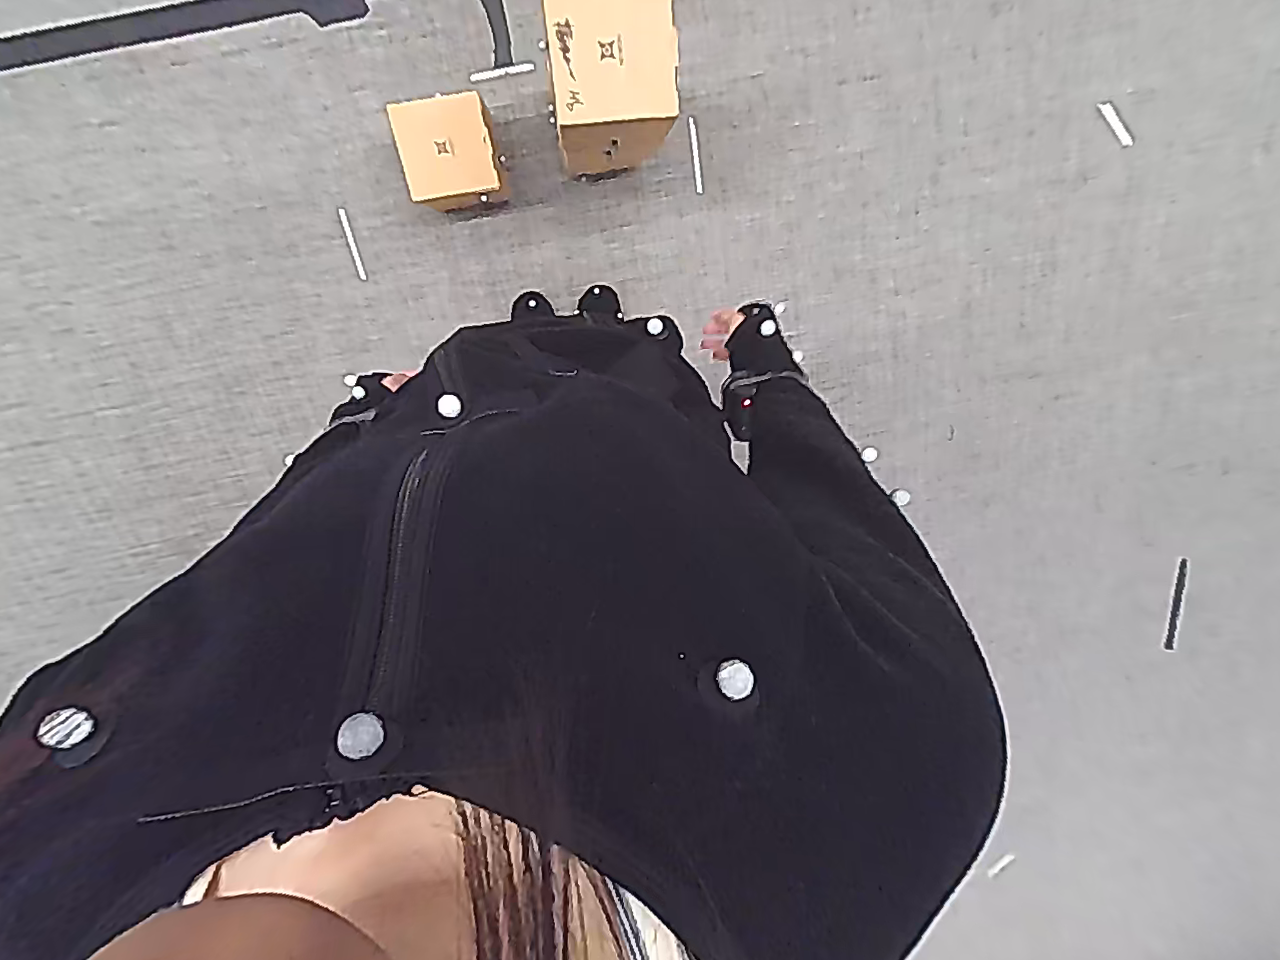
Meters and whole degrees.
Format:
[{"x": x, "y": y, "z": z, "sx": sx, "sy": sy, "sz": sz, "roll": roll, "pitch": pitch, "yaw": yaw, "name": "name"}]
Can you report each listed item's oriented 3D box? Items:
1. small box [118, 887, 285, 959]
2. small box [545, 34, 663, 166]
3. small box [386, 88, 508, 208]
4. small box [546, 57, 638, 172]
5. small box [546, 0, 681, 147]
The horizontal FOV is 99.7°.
[{"x": -0.683, "y": 0.767, "z": 0.825, "sx": 0.179, "sy": 0.176, "sz": 0.168, "roll": -12, "pitch": 111, "yaw": -1, "name": "small box"}, {"x": -0.063, "y": -0.672, "z": 0.959, "sx": 0.179, "sy": 0.176, "sz": 0.168, "roll": -10, "pitch": 112, "yaw": -4, "name": "small box"}, {"x": -0.382, "y": -0.666, "z": 1.103, "sx": 0.179, "sy": 0.176, "sz": 0.168, "roll": -11, "pitch": 111, "yaw": -3, "name": "small box"}, {"x": -0.088, "y": -0.745, "z": 1.105, "sx": 0.168, "sy": 0.176, "sz": 0.179, "roll": -12, "pitch": 111, "yaw": -3, "name": "small box"}, {"x": -0.044, "y": -0.611, "z": 0.808, "sx": 0.179, "sy": 0.176, "sz": 0.168, "roll": -7, "pitch": 111, "yaw": -5, "name": "small box"}]
